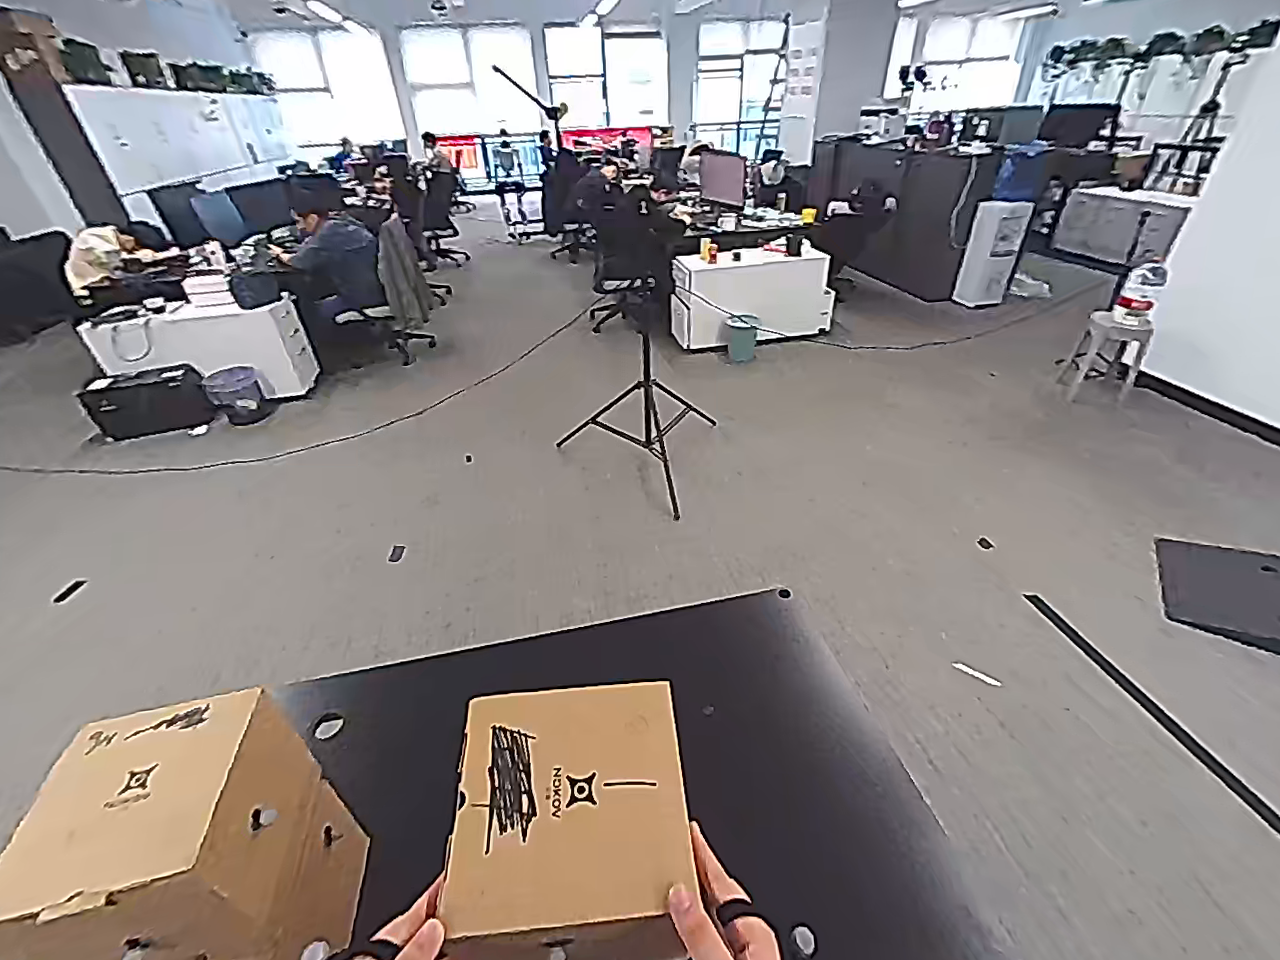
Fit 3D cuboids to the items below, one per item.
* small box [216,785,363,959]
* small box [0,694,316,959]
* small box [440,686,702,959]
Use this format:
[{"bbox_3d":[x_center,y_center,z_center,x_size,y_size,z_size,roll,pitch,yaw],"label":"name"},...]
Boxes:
[{"bbox_3d":[-0.434,0.486,0.609,0.168,0.176,0.179,-8,35,-8],"label":"small box"},{"bbox_3d":[-0.444,0.347,0.523,0.168,0.176,0.179,-10,36,-10],"label":"small box"},{"bbox_3d":[-0.049,0.300,0.463,0.179,0.176,0.168,-3,41,-4],"label":"small box"}]
